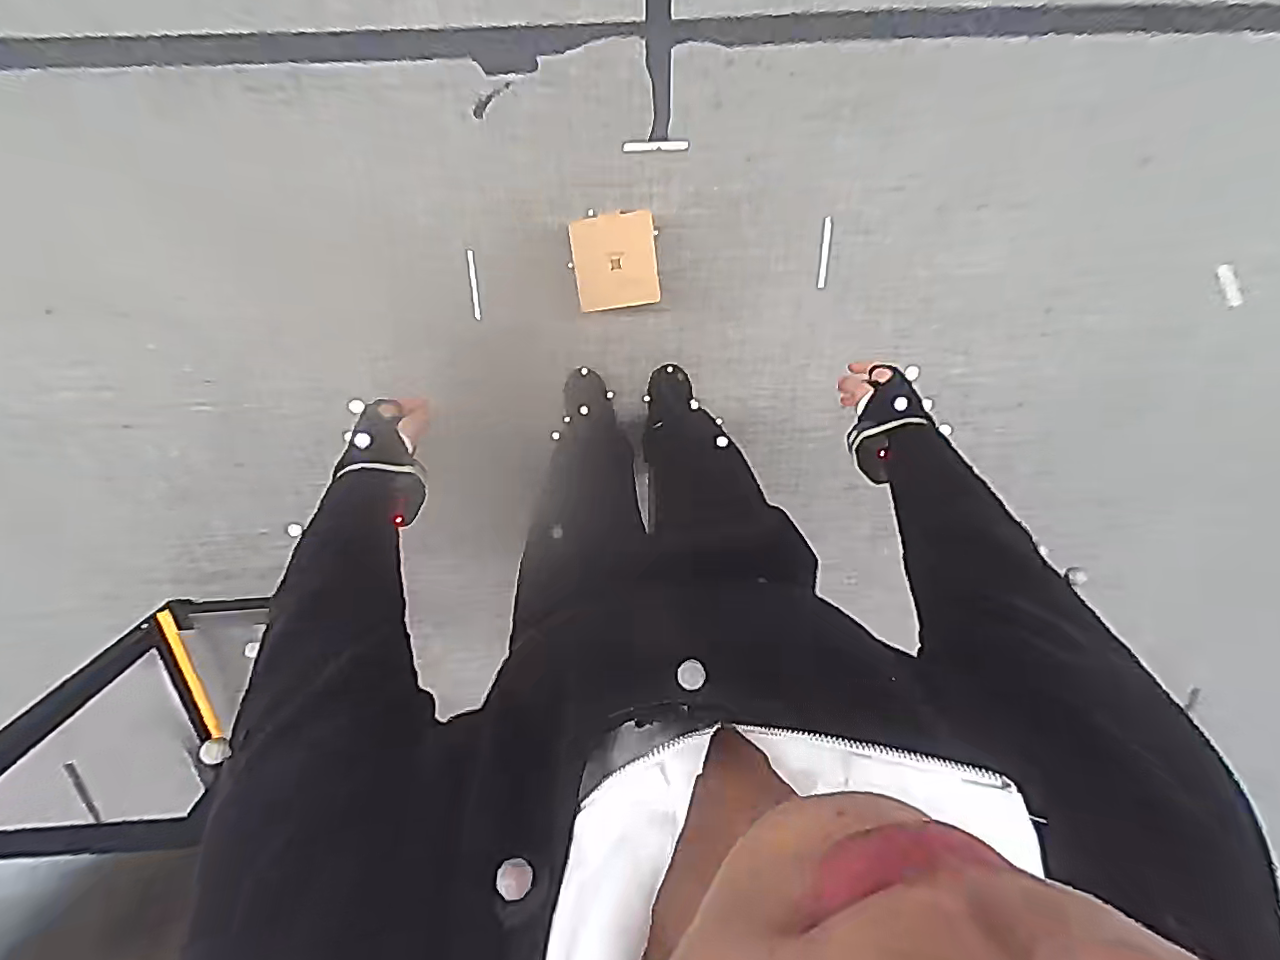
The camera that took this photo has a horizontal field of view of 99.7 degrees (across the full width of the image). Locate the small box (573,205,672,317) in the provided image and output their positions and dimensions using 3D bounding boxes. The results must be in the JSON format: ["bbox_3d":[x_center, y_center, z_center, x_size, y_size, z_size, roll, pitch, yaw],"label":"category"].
[{"bbox_3d":[-0.034,-0.430,1.066,0.168,0.176,0.179,-9,114,1],"label":"small box"}]
